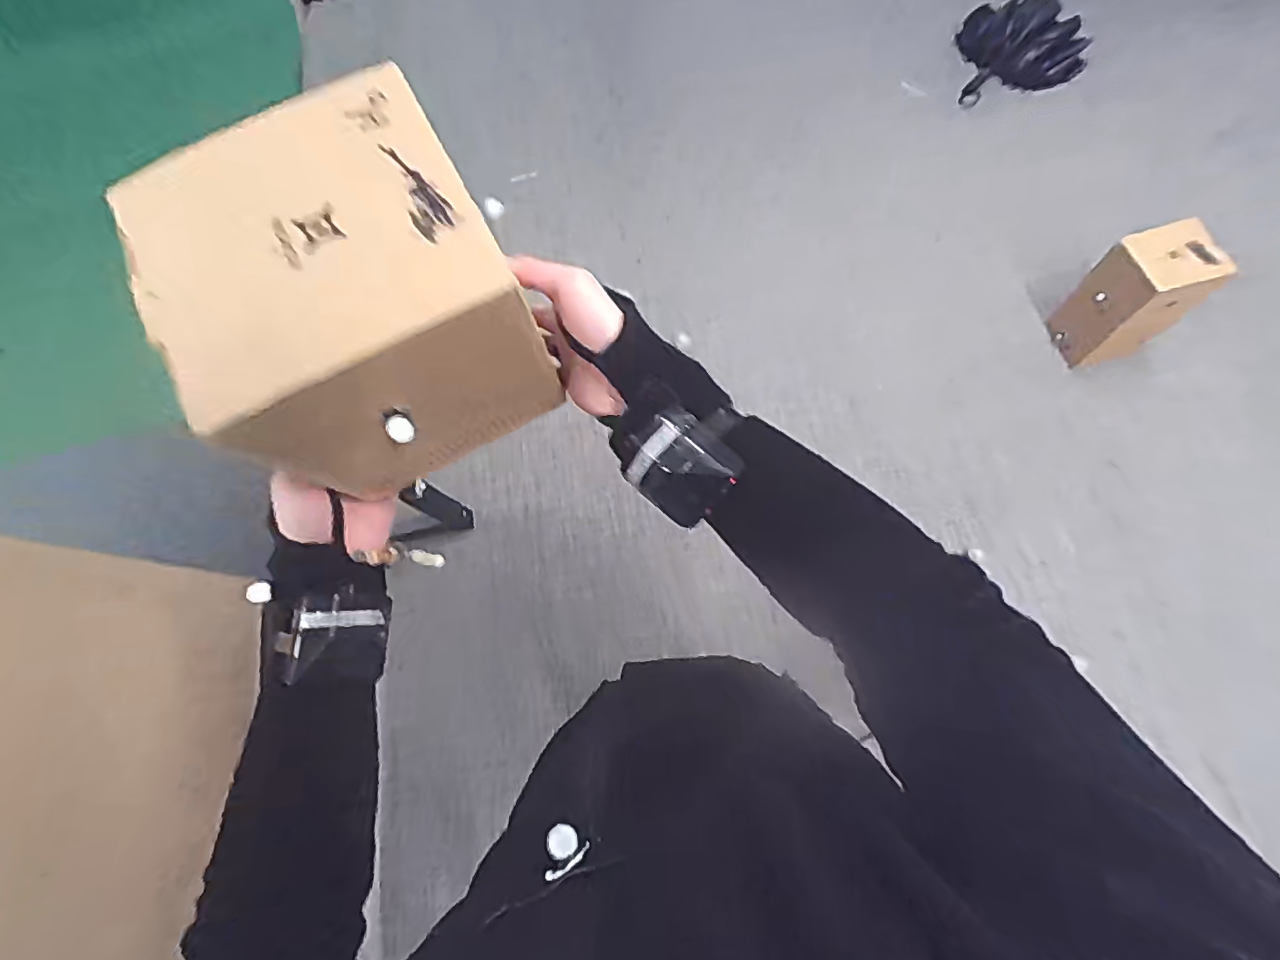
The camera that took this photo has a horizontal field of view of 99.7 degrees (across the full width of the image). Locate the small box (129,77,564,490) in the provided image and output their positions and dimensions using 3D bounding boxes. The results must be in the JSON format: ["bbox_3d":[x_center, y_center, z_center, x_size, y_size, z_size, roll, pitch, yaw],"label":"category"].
[{"bbox_3d":[-0.172,-0.109,0.372,0.179,0.176,0.168,-28,79,-4],"label":"small box"}]

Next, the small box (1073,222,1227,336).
[{"bbox_3d":[1.214,-0.478,1.305,0.179,0.176,0.168,-15,68,3],"label":"small box"}]

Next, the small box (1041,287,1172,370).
[{"bbox_3d":[1.243,-0.423,1.457,0.179,0.176,0.168,-15,68,4],"label":"small box"}]
